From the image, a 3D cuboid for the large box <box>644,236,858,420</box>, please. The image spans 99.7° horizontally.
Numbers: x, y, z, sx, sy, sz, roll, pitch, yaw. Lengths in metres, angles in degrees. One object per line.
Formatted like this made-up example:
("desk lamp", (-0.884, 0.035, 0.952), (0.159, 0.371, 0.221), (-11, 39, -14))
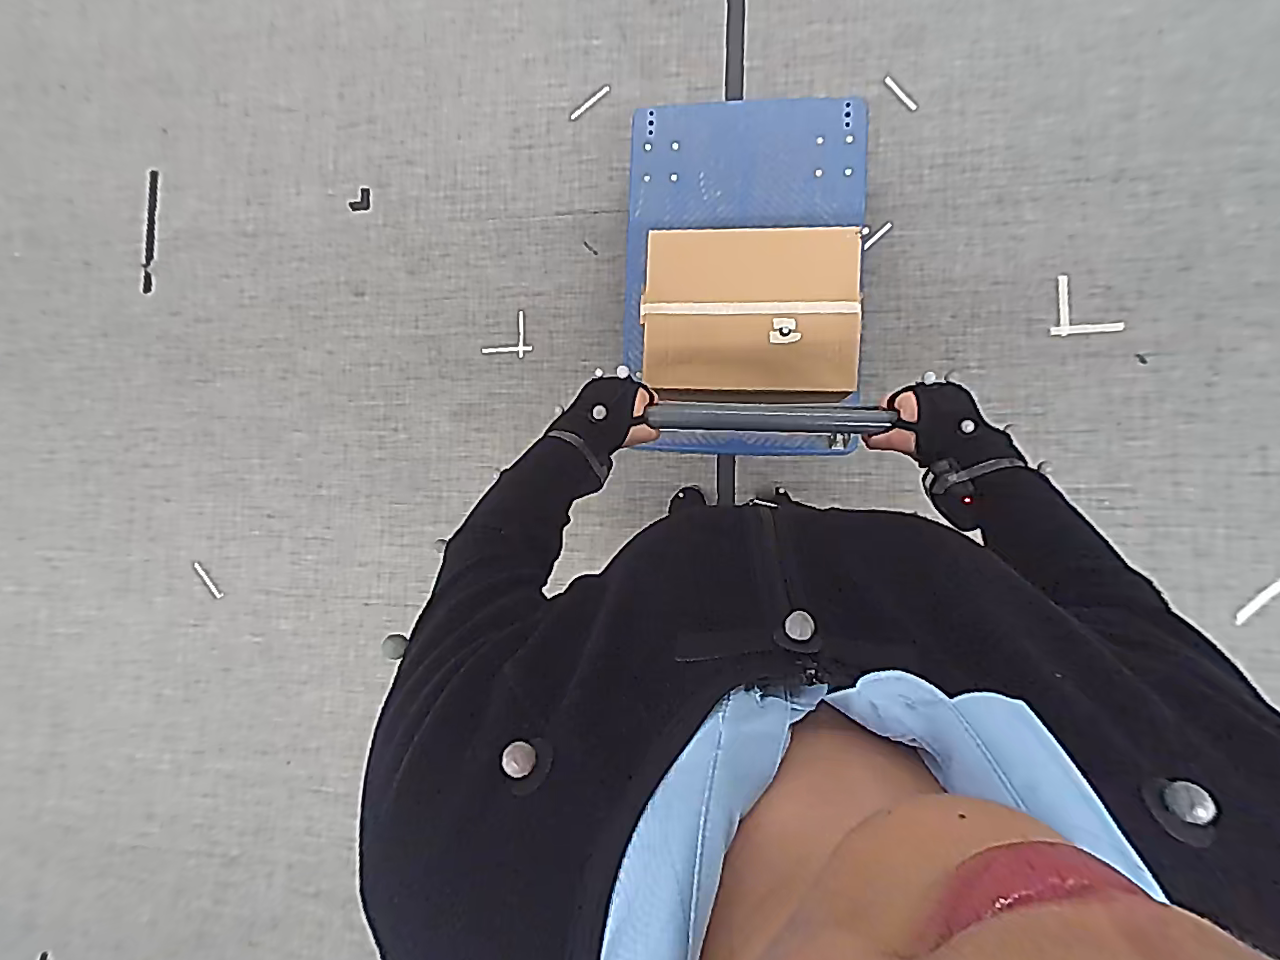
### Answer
("large box", (0.223, -0.304, 1.178), (0.408, 0.320, 0.320), (2, 89, 7))
